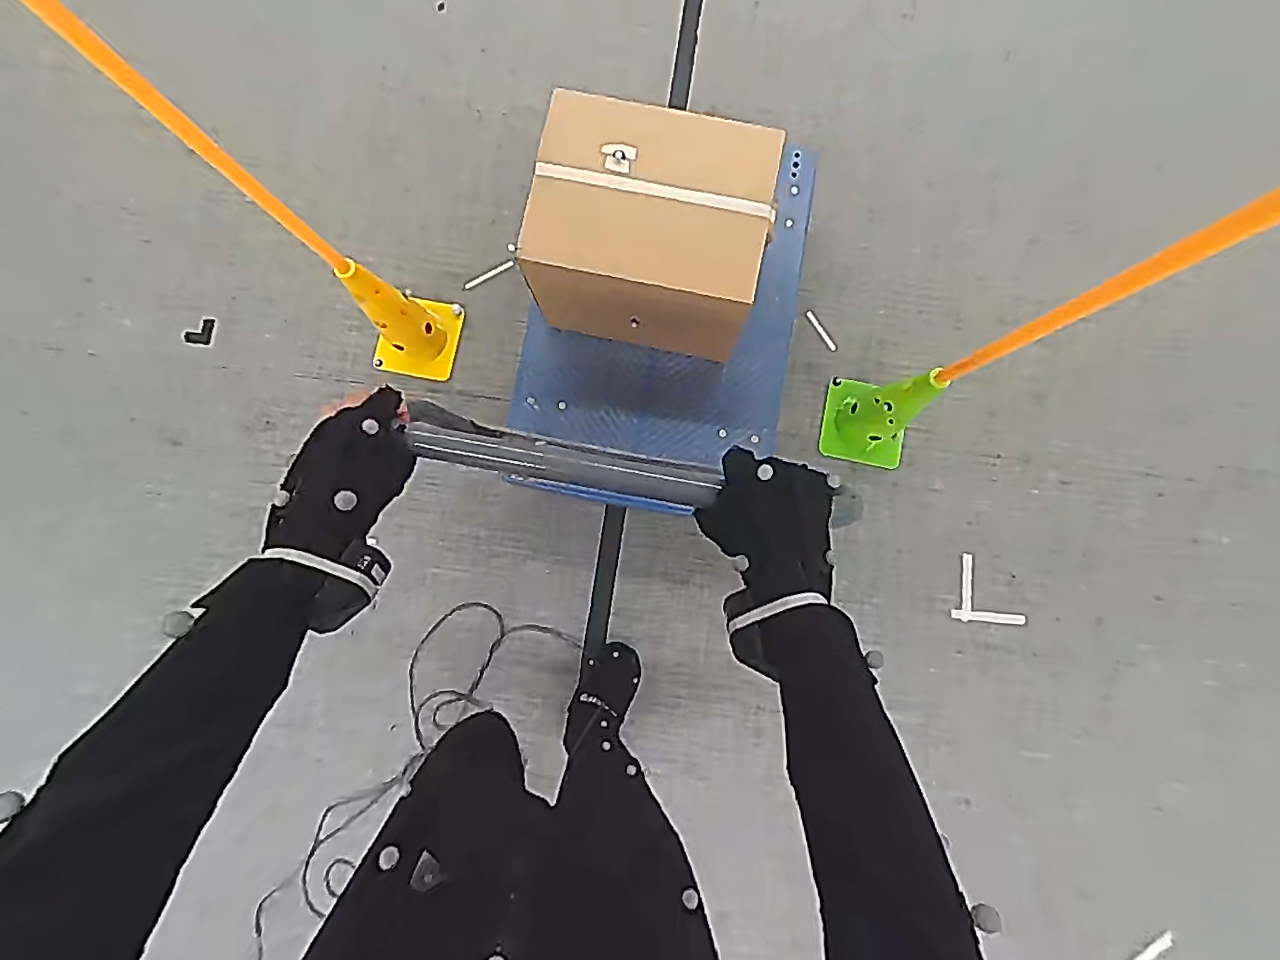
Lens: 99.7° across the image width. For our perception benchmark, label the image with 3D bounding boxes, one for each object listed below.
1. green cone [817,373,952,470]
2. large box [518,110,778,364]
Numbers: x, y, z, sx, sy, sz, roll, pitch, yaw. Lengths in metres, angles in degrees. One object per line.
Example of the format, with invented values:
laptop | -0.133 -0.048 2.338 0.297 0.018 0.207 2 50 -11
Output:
green cone | 0.550 -0.155 1.172 0.202 0.368 0.200 12 84 1
large box | 0.021 -0.450 1.072 0.408 0.320 0.320 12 85 3
